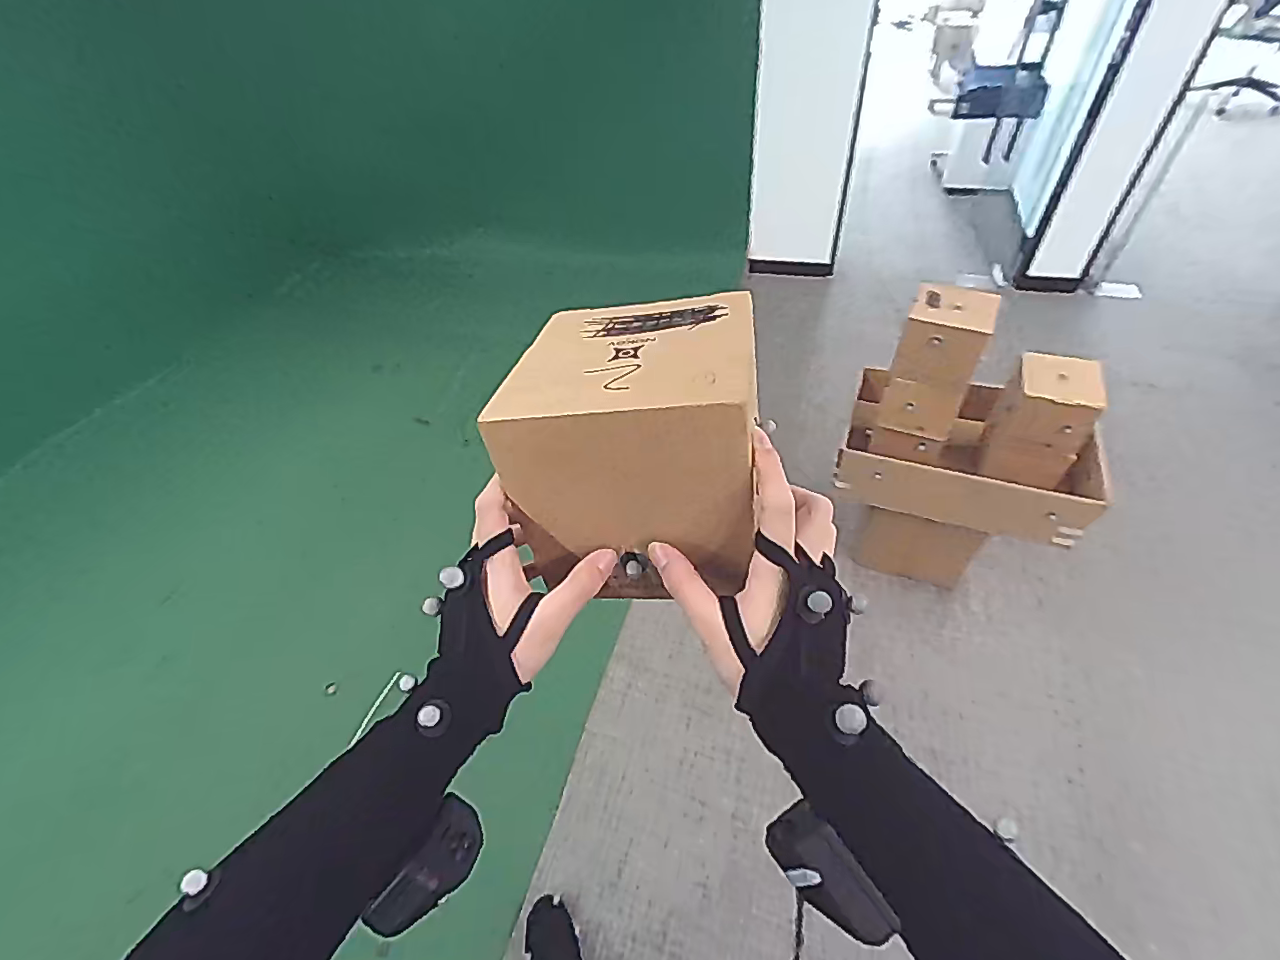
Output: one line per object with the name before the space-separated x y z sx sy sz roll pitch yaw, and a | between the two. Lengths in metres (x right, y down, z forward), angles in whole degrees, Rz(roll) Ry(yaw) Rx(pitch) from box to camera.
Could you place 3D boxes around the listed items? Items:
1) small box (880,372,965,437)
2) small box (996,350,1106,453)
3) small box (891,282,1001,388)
small box | 0.740 -0.237 1.412 0.168 0.176 0.179 17 53 21
small box | 1.005 -0.192 1.335 0.168 0.176 0.179 15 52 19
small box | 0.721 -0.343 1.287 0.179 0.176 0.168 20 54 22
